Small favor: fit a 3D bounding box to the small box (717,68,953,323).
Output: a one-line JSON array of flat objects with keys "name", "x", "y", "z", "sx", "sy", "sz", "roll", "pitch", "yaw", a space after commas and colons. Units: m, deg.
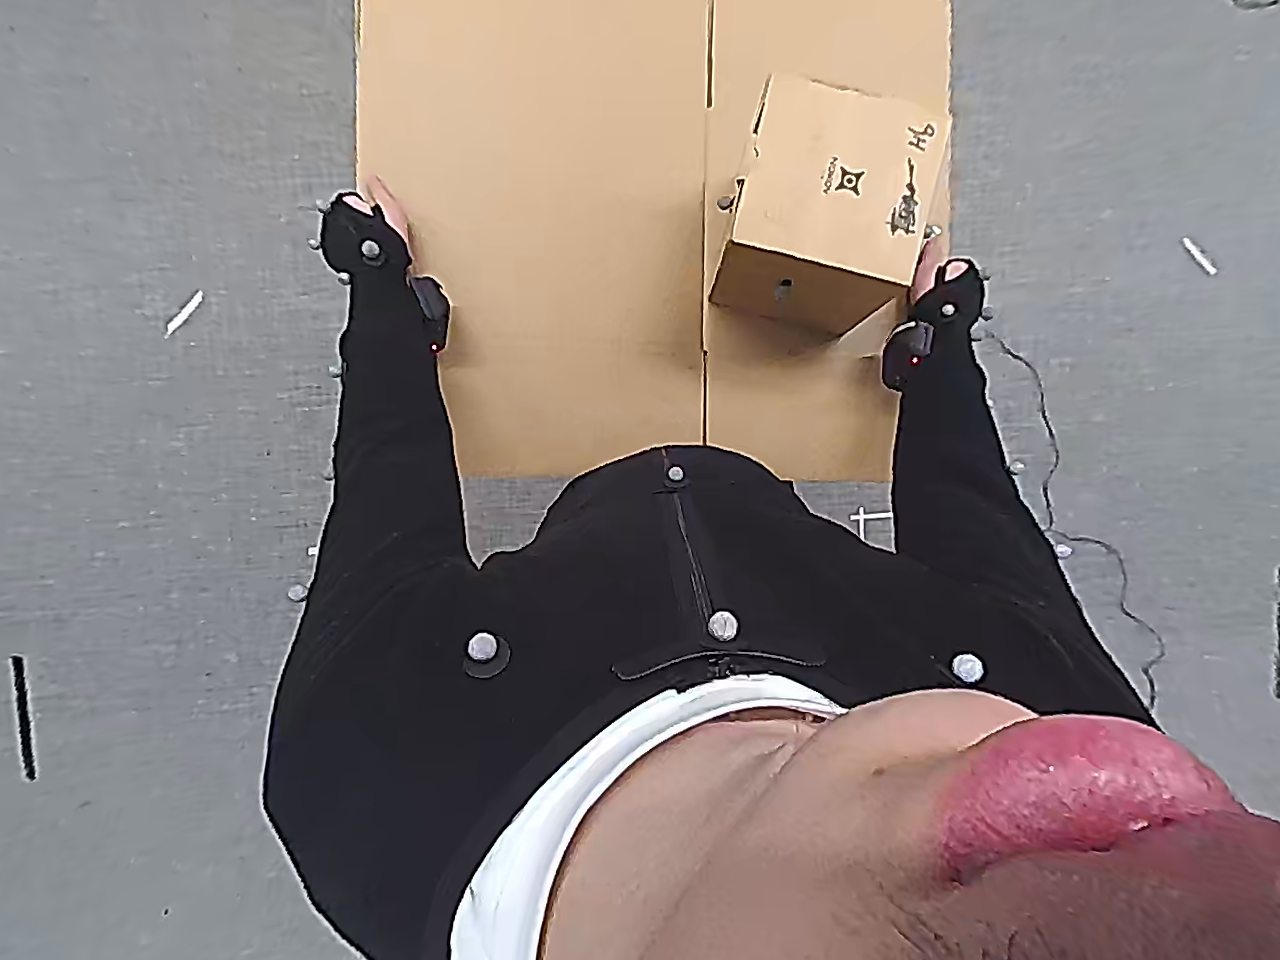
[{"name": "small box", "x": 0.190, "y": -0.286, "z": 0.584, "sx": 0.179, "sy": 0.176, "sz": 0.168, "roll": 15, "pitch": 90, "yaw": 1}]
